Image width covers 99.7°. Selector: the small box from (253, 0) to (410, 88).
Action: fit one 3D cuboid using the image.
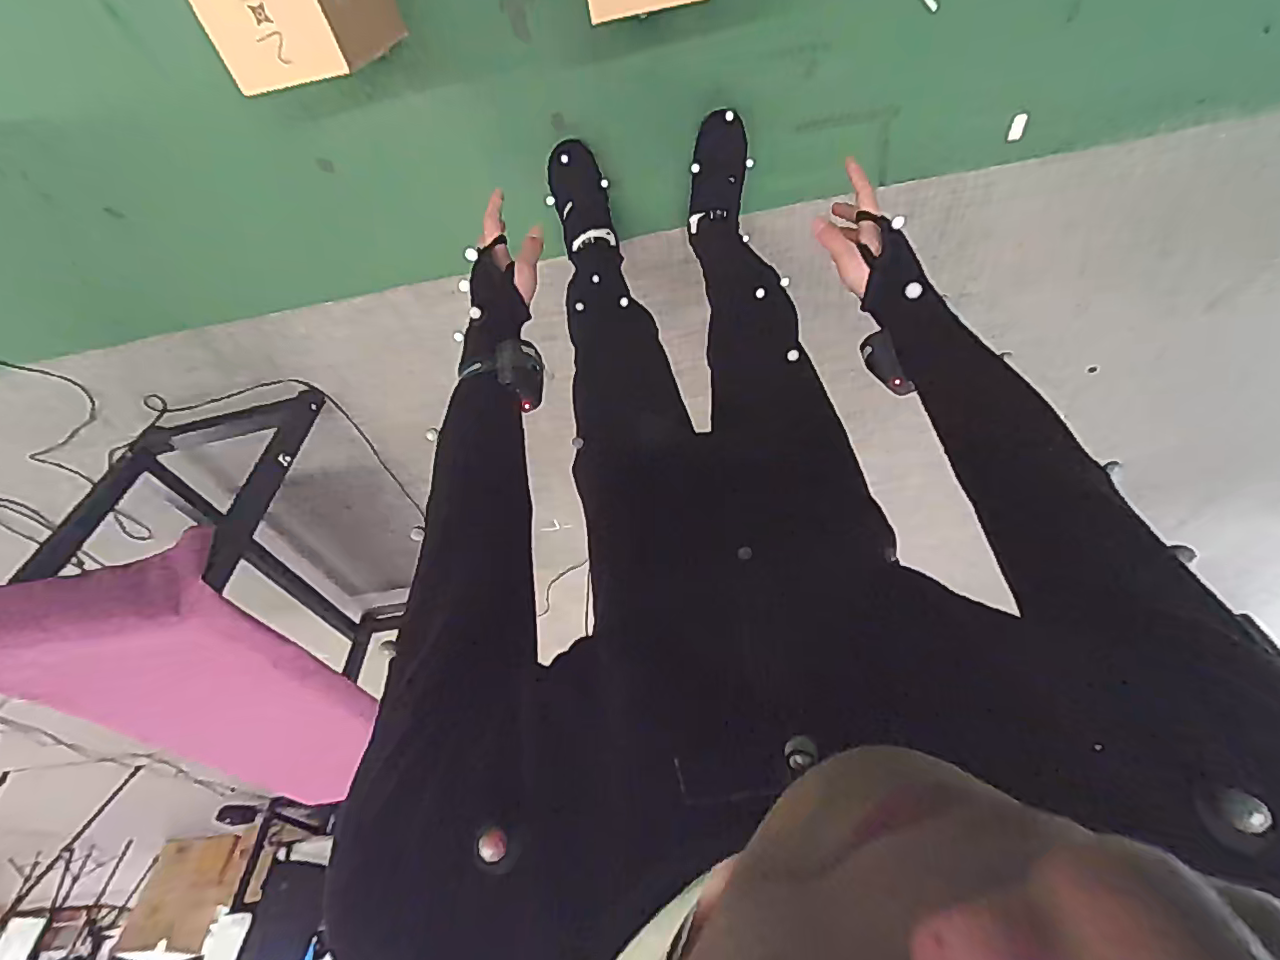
[{"bbox_3d":[-0.506,-0.778,0.885,0.168,0.176,0.179,-9,134,5],"label":"small box"}]
